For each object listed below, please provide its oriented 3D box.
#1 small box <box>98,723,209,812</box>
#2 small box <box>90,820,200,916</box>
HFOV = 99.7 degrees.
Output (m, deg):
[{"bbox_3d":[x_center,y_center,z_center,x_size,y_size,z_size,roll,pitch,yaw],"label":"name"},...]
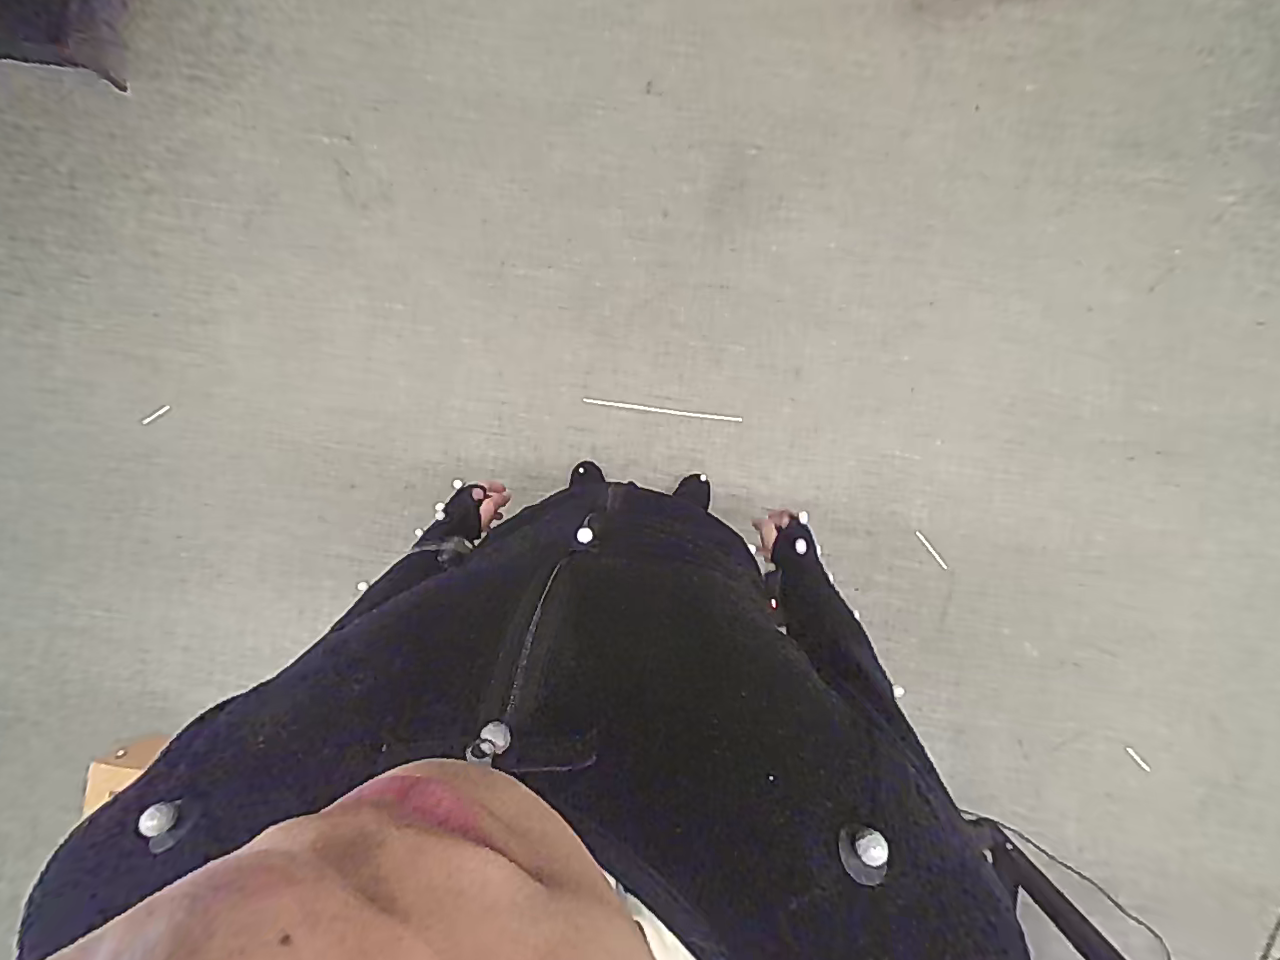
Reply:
[{"bbox_3d":[-1.466,0.860,1.636,0.179,0.176,0.168,9,92,1],"label":"small box"},{"bbox_3d":[-1.501,1.172,1.648,0.179,0.176,0.168,7,92,1],"label":"small box"}]
